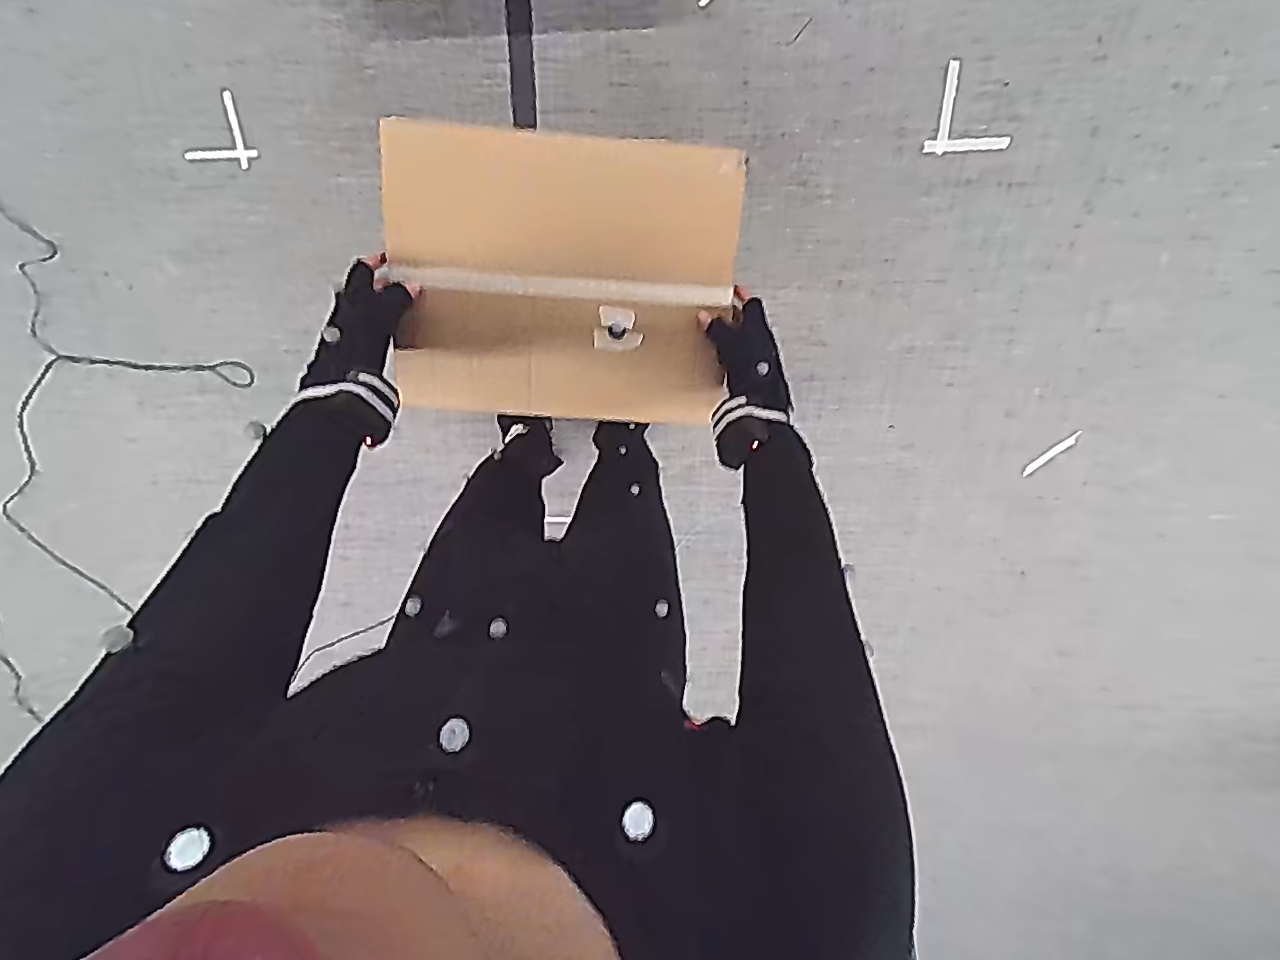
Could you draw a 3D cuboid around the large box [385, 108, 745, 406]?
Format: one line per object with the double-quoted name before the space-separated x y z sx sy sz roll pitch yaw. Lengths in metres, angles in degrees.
"large box" -0.095 -0.291 0.778 0.408 0.320 0.320 3 108 -3
